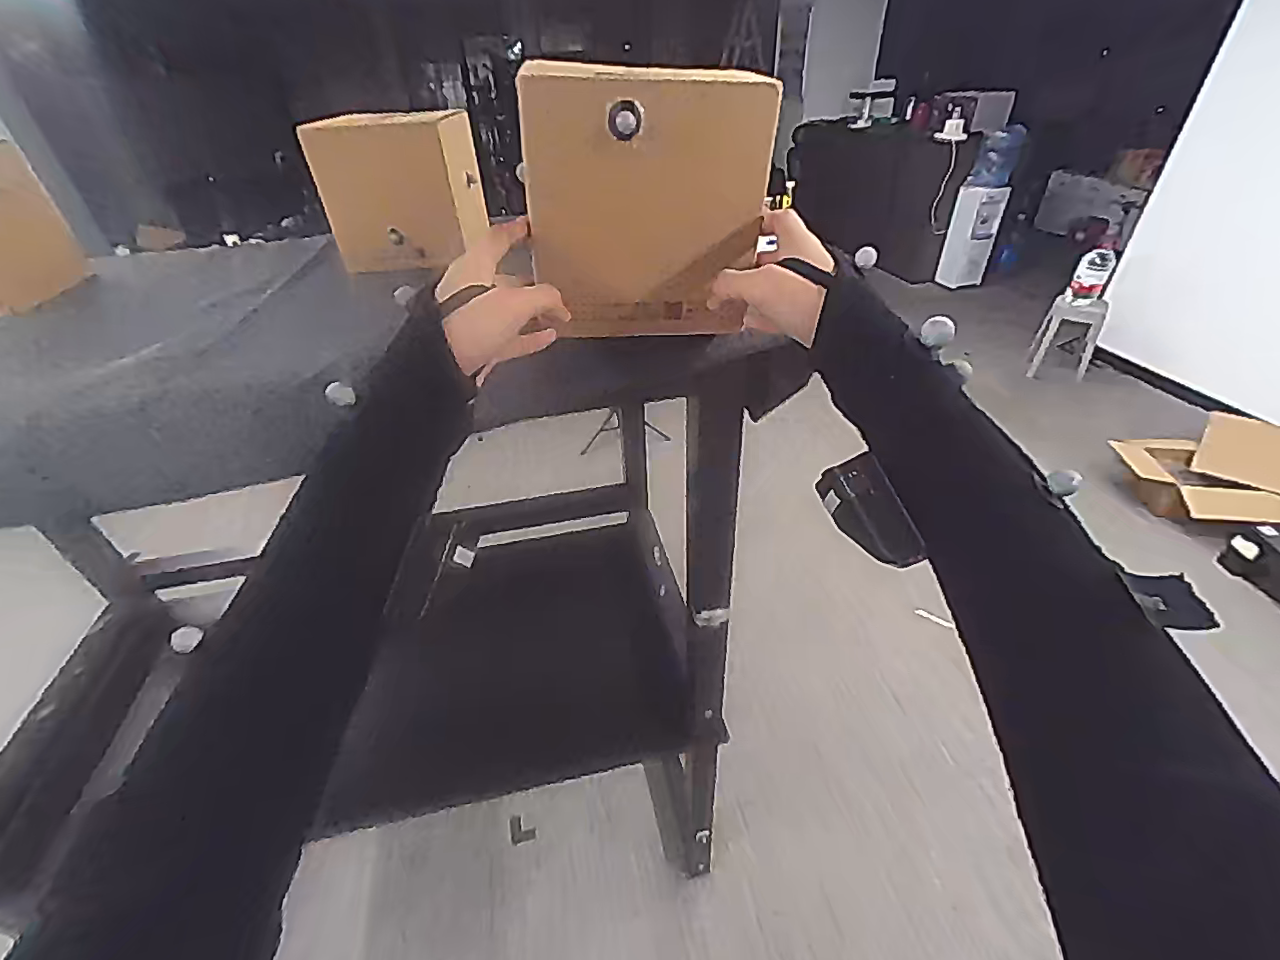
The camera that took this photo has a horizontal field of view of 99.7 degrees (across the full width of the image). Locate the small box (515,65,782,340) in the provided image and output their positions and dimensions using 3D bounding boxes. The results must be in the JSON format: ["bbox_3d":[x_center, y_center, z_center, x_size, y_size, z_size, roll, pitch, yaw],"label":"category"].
[{"bbox_3d":[-0.003,-0.225,0.438,0.168,0.176,0.179,-3,38,-5],"label":"small box"}]

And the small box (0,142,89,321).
[{"bbox_3d":[-0.833,-0.294,0.646,0.168,0.176,0.179,-11,39,-10],"label":"small box"}]
